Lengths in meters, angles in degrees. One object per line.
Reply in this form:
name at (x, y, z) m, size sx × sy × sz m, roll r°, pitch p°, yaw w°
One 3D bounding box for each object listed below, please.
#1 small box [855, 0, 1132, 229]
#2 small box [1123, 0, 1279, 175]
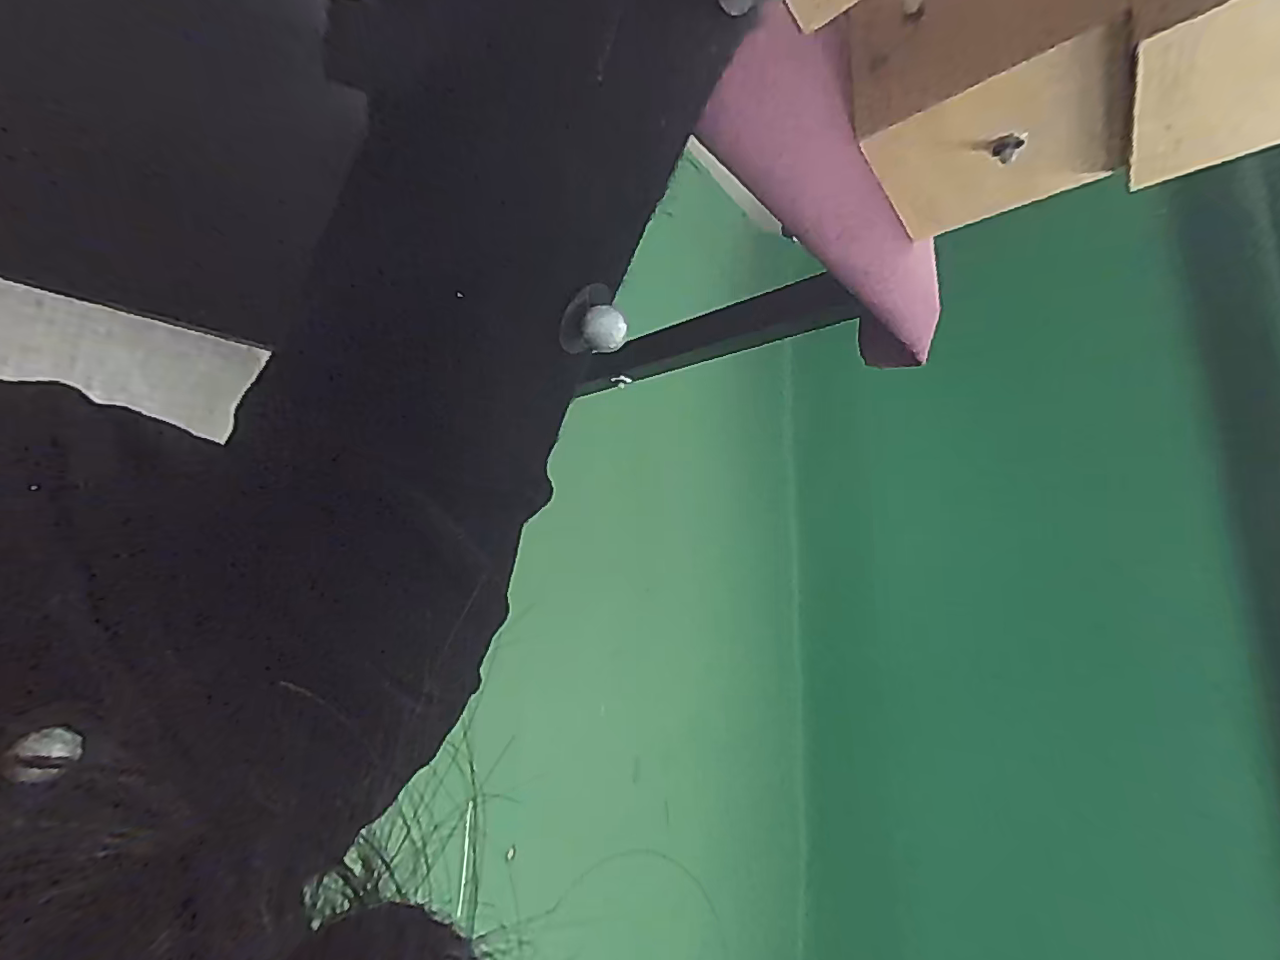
small box at (0.295, -0.345, 0.461) m, size 0.179 × 0.176 × 0.168 m, roll 12°, pitch 75°, yaw -48°
small box at (0.423, -0.339, 0.355) m, size 0.179 × 0.176 × 0.168 m, roll 12°, pitch 75°, yaw -49°
